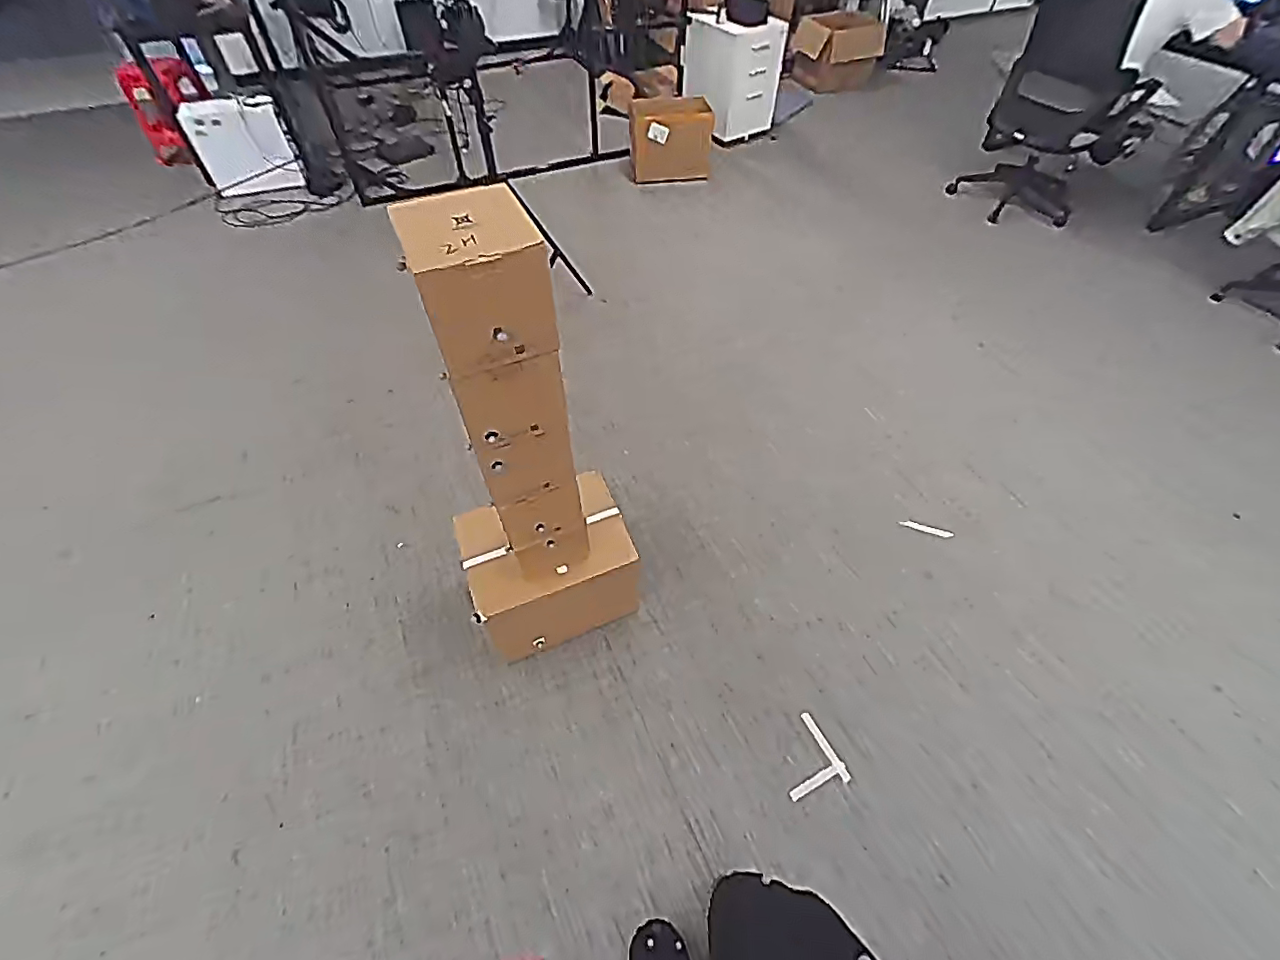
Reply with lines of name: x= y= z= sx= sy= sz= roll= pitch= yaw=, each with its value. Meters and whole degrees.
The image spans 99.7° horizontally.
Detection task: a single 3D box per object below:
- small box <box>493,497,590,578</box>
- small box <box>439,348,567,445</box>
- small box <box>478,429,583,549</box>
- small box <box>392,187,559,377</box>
small box: x=-0.230 y=0.108 z=1.292 sx=0.179 sy=0.176 sz=0.168 roll=-21 pitch=56 yaw=-16
small box: x=-0.227 y=-0.179 z=0.894 sx=0.168 sy=0.176 sz=0.179 roll=-19 pitch=55 yaw=-14
small box: x=-0.230 y=0.017 z=1.157 sx=0.168 sy=0.176 sz=0.179 roll=-20 pitch=57 yaw=-15
small box: x=-0.225 y=-0.276 z=0.761 sx=0.168 sy=0.176 sz=0.179 roll=-21 pitch=57 yaw=-15
